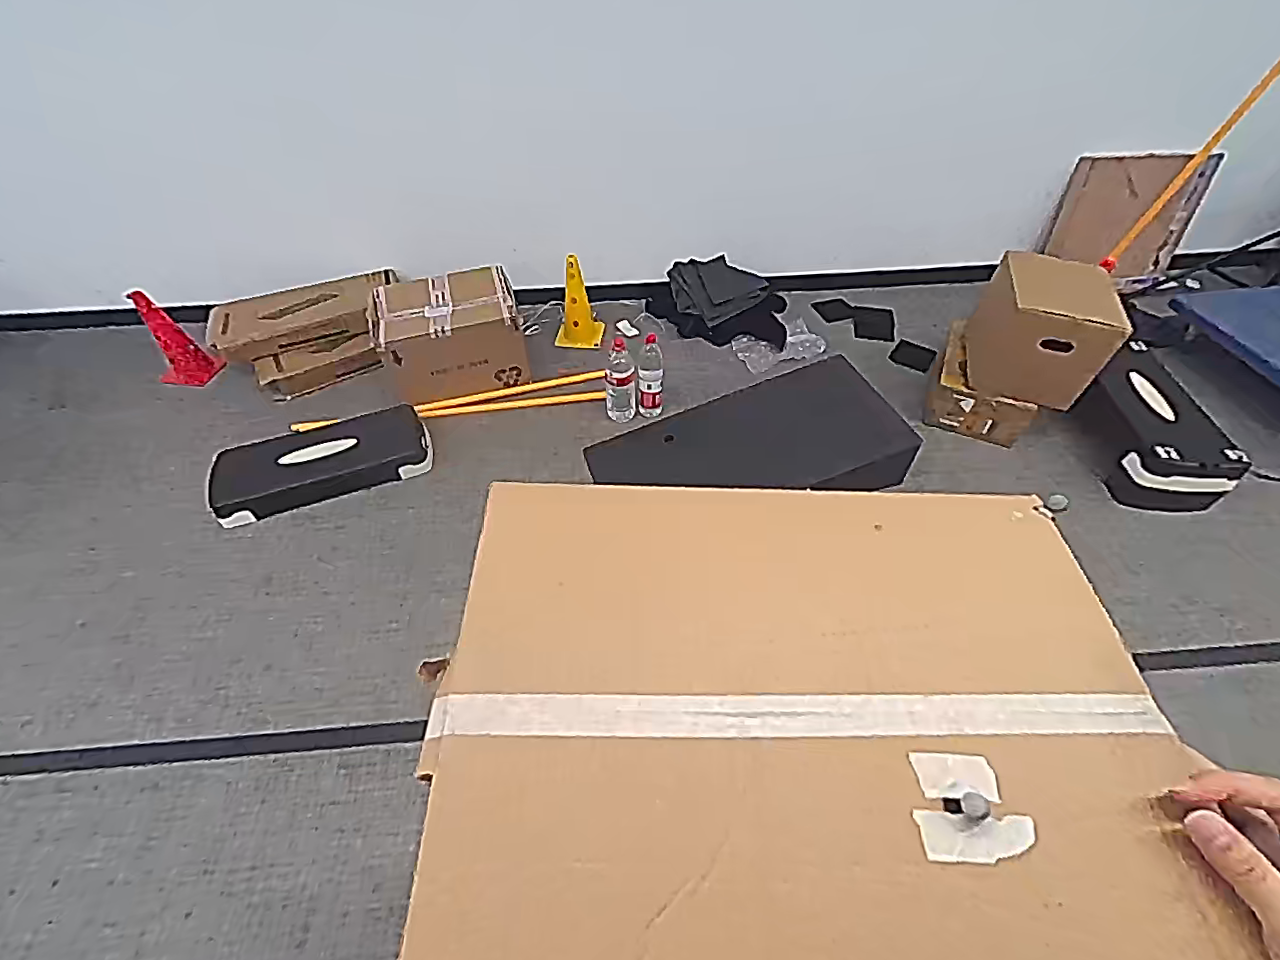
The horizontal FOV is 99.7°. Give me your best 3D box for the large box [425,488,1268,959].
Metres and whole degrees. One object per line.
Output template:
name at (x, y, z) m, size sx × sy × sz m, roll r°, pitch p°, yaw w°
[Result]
large box at (0.088, 0.223, 0.433) m, size 0.408 × 0.320 × 0.320 m, roll 2°, pitch 53°, yaw -4°
